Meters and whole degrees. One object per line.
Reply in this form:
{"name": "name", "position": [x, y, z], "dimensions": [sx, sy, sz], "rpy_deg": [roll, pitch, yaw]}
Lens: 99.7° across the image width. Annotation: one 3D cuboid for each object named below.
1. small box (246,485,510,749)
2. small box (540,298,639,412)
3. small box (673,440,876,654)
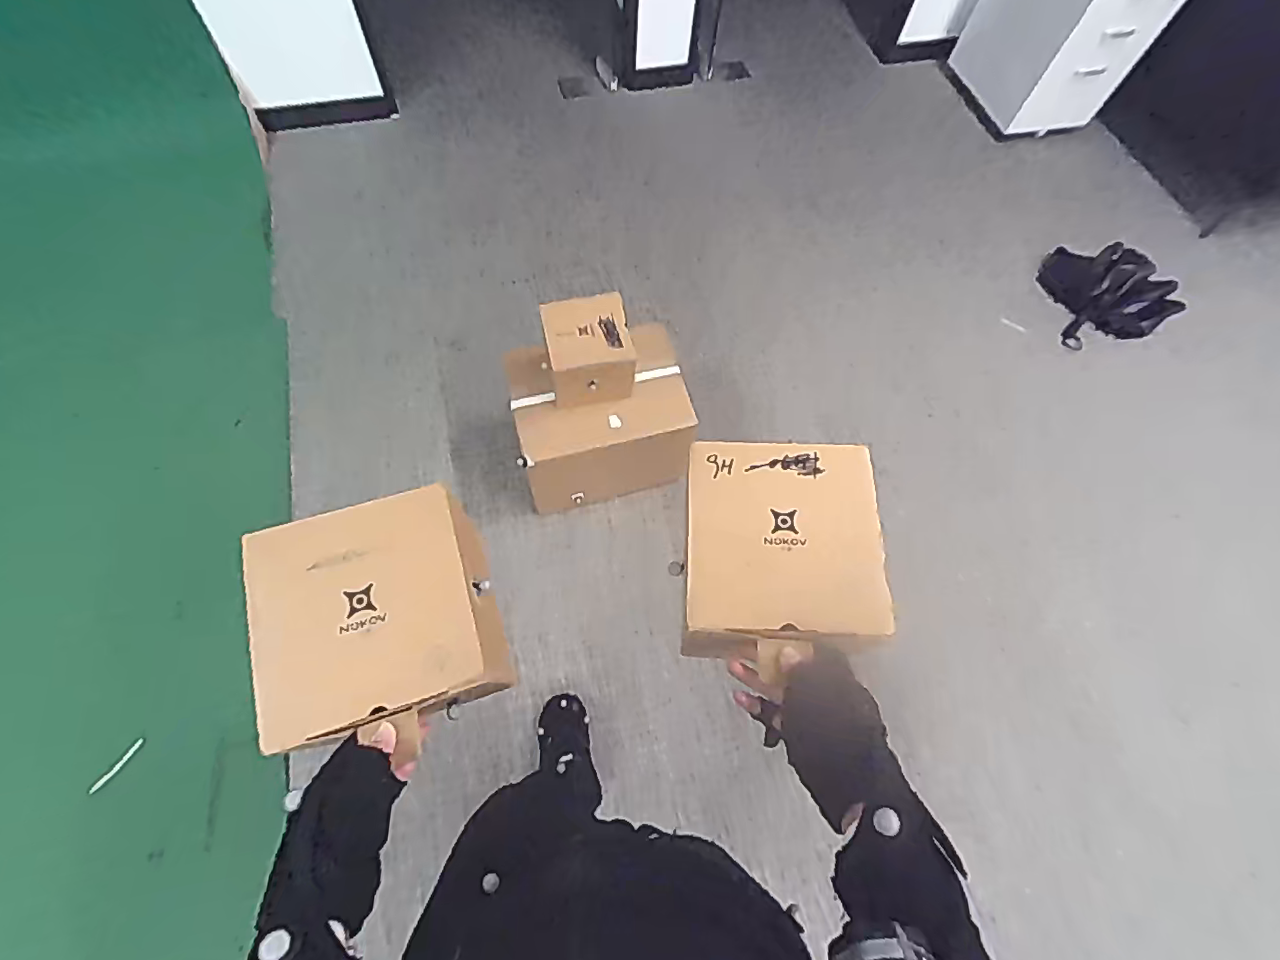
{"name": "small box", "position": [-0.233, 0.131, 0.517], "dimensions": [0.168, 0.176, 0.179], "rpy_deg": [-17, 70, -11]}
{"name": "small box", "position": [-0.115, -0.270, 1.192], "dimensions": [0.179, 0.176, 0.168], "rpy_deg": [-14, 73, -10]}
{"name": "small box", "position": [0.119, 0.076, 0.546], "dimensions": [0.168, 0.176, 0.179], "rpy_deg": [2, 66, 3]}
